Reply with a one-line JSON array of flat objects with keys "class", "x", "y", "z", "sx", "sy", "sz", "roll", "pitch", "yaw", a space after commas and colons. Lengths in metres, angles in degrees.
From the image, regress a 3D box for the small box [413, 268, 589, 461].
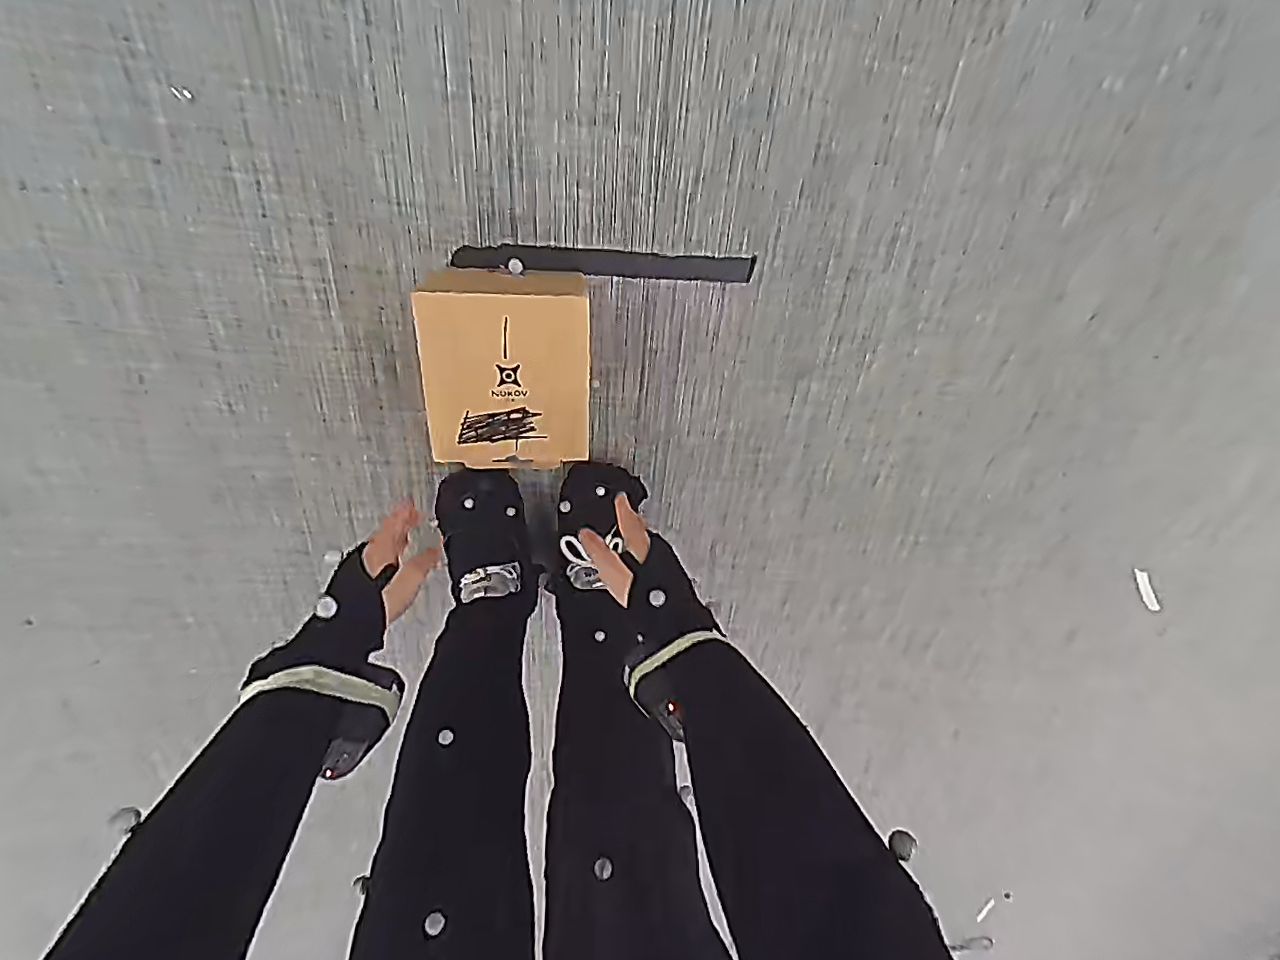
[{"class": "small box", "x": -0.145, "y": -0.136, "z": 0.617, "sx": 0.168, "sy": 0.176, "sz": 0.179, "roll": -1, "pitch": 118, "yaw": -9}]
